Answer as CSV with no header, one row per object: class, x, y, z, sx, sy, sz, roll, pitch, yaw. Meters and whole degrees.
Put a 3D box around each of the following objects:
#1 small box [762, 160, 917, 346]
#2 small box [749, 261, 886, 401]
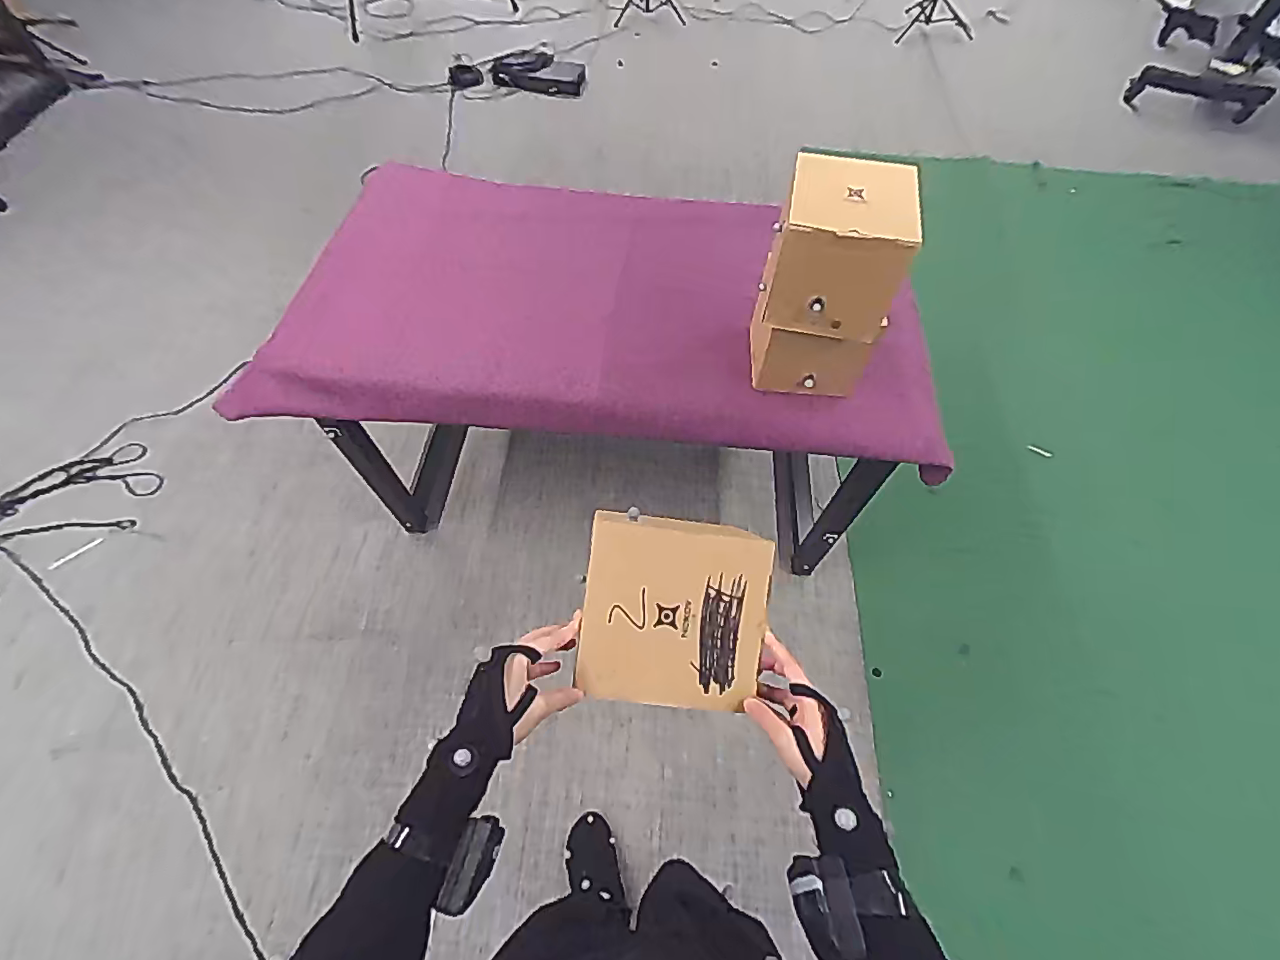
small box,0.279,-0.325,0.784,0.168,0.176,0.179,11,59,7
small box,0.293,-0.253,0.932,0.179,0.176,0.168,4,57,2
